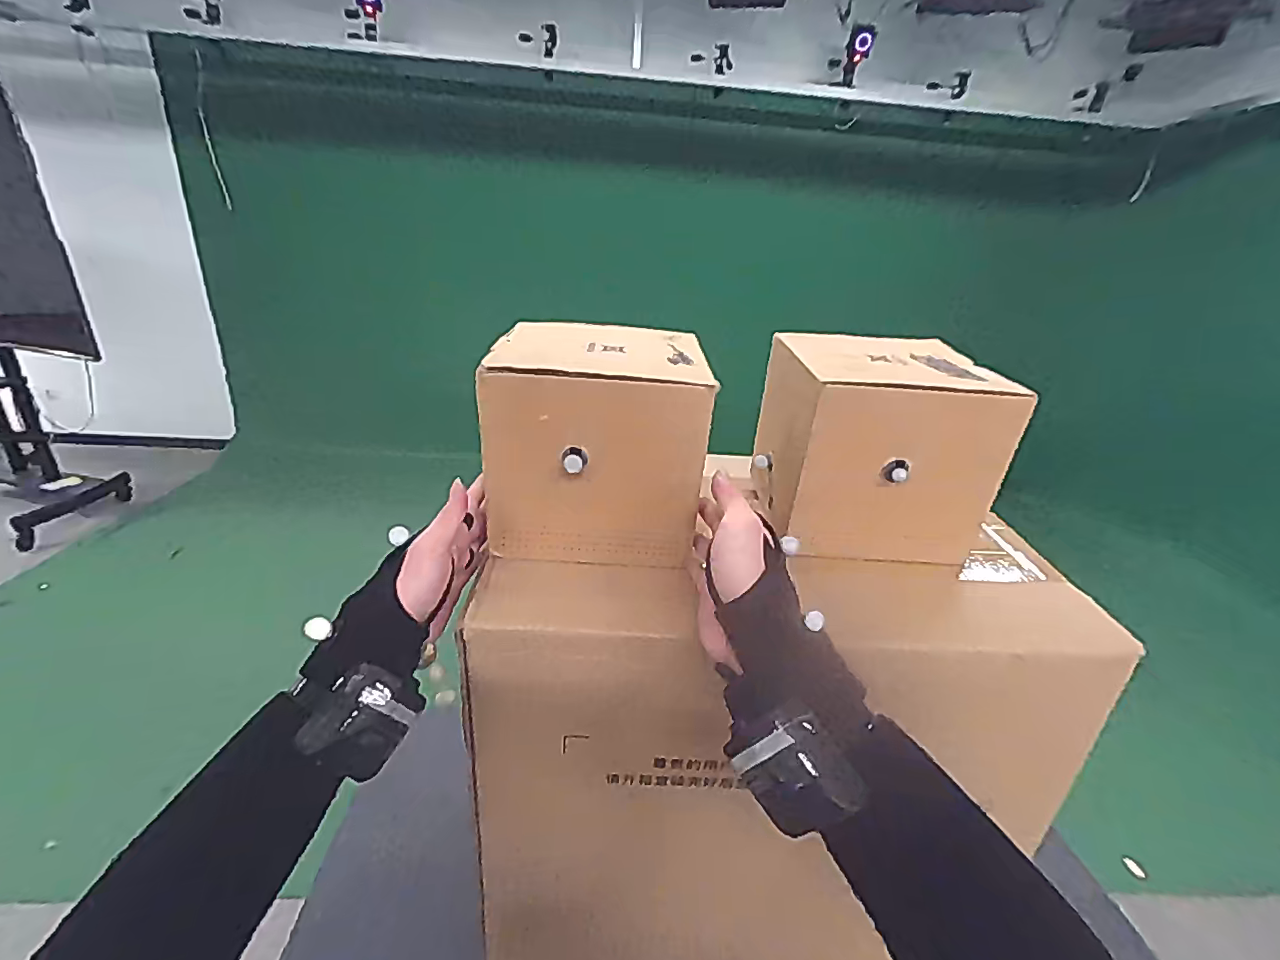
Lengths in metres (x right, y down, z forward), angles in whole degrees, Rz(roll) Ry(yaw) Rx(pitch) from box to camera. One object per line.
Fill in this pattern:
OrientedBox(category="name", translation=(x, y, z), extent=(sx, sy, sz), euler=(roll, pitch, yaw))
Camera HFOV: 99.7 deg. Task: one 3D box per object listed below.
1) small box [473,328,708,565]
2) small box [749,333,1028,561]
OrientedBox(category="small box", translation=(-0.039, -0.036, 0.499), extent=(0.179, 0.176, 0.168), euler=(3, 28, -2))
OrientedBox(category="small box", translation=(0.217, -0.035, 0.529), extent=(0.179, 0.176, 0.168), euler=(2, 28, -1))
